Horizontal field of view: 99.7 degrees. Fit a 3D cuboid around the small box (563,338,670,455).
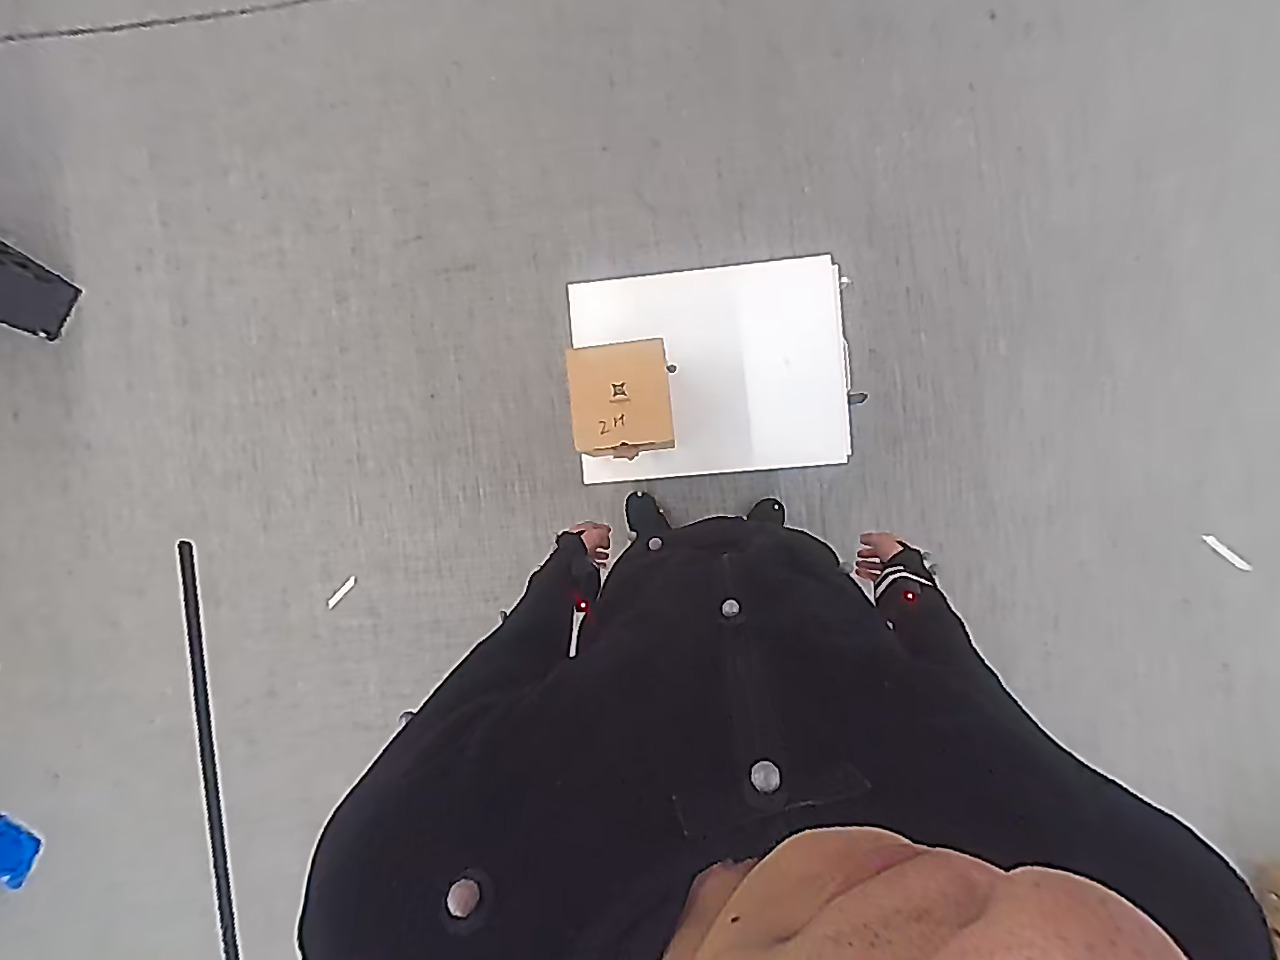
[{"bbox_3d":[-0.035,-0.140,0.968,0.168,0.176,0.179,-5,90,5],"label":"small box"}]
